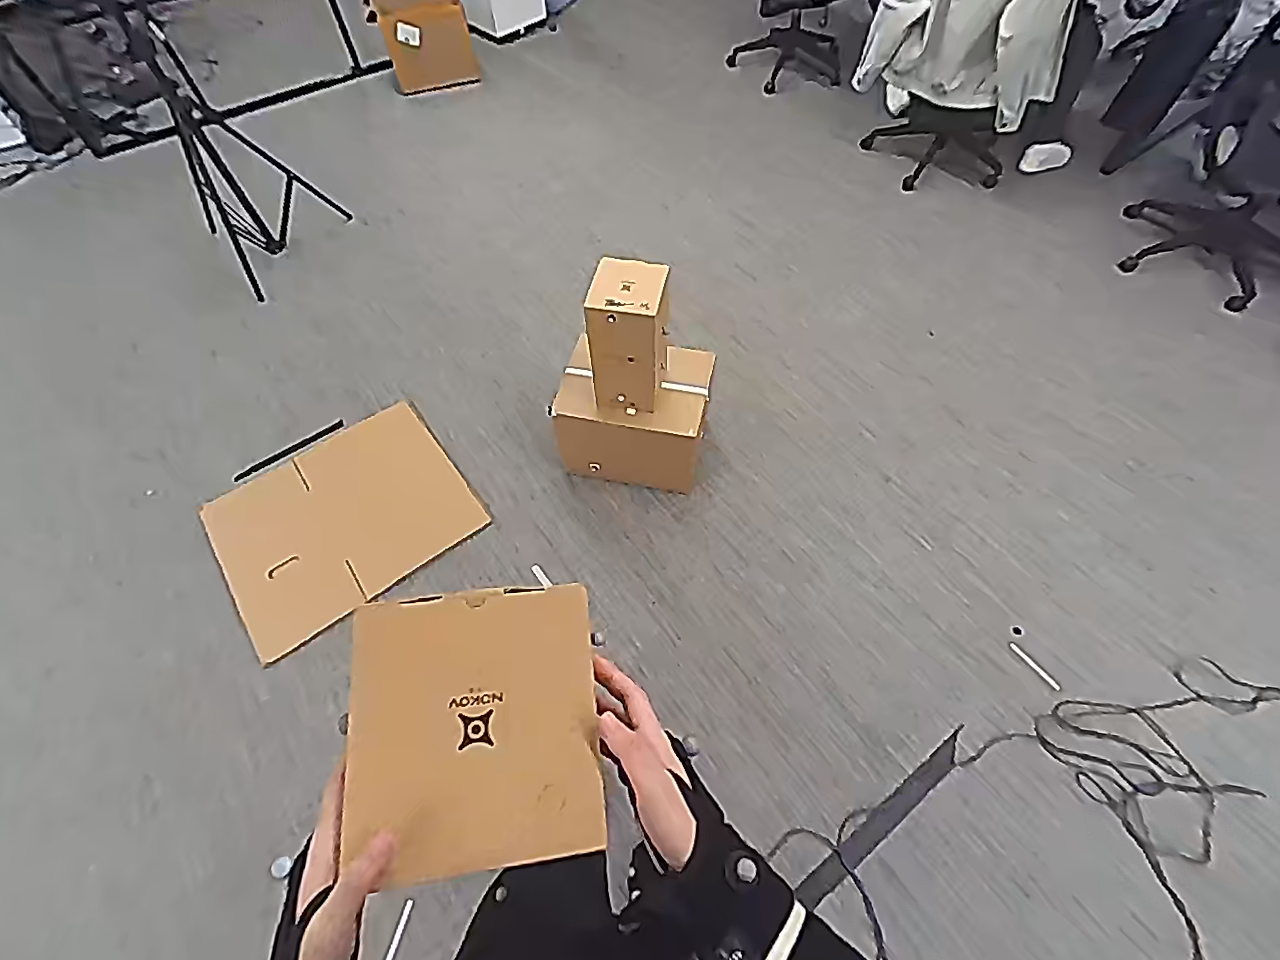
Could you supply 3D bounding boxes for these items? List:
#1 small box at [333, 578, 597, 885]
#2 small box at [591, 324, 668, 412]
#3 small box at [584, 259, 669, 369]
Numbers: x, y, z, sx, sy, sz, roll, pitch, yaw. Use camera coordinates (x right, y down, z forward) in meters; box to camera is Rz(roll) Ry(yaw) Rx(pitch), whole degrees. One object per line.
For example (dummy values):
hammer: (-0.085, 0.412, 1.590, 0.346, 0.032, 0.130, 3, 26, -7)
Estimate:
small box: (-0.125, 0.188, 0.440, 0.168, 0.176, 0.179, -4, 68, -9)
small box: (-0.025, -0.307, 1.432, 0.168, 0.176, 0.179, 9, 60, 7)
small box: (-0.027, -0.395, 1.293, 0.168, 0.176, 0.179, 9, 59, 8)
